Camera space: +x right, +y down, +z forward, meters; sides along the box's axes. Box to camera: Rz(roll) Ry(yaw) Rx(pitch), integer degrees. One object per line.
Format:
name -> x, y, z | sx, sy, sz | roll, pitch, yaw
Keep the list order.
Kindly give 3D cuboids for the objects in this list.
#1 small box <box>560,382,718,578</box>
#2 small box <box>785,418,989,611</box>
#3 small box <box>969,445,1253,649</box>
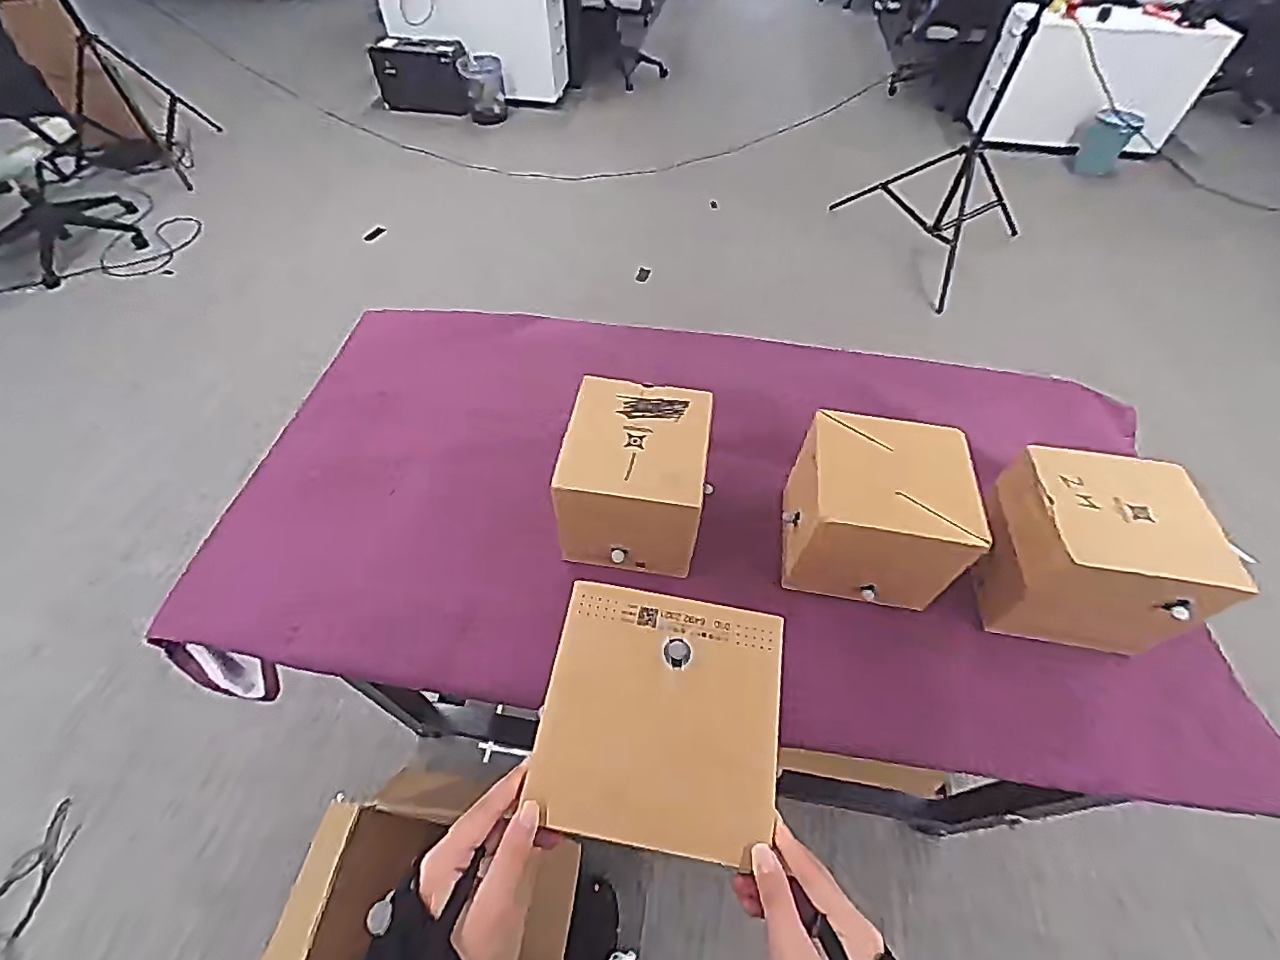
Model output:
small box -> 0.002, 0.002, 0.697 | 0.168, 0.176, 0.179 | 8, 53, 4
small box -> 0.287, 0.040, 0.673 | 0.179, 0.176, 0.168 | 8, 52, 6
small box -> 0.527, 0.085, 0.646 | 0.179, 0.176, 0.168 | 9, 51, 5
